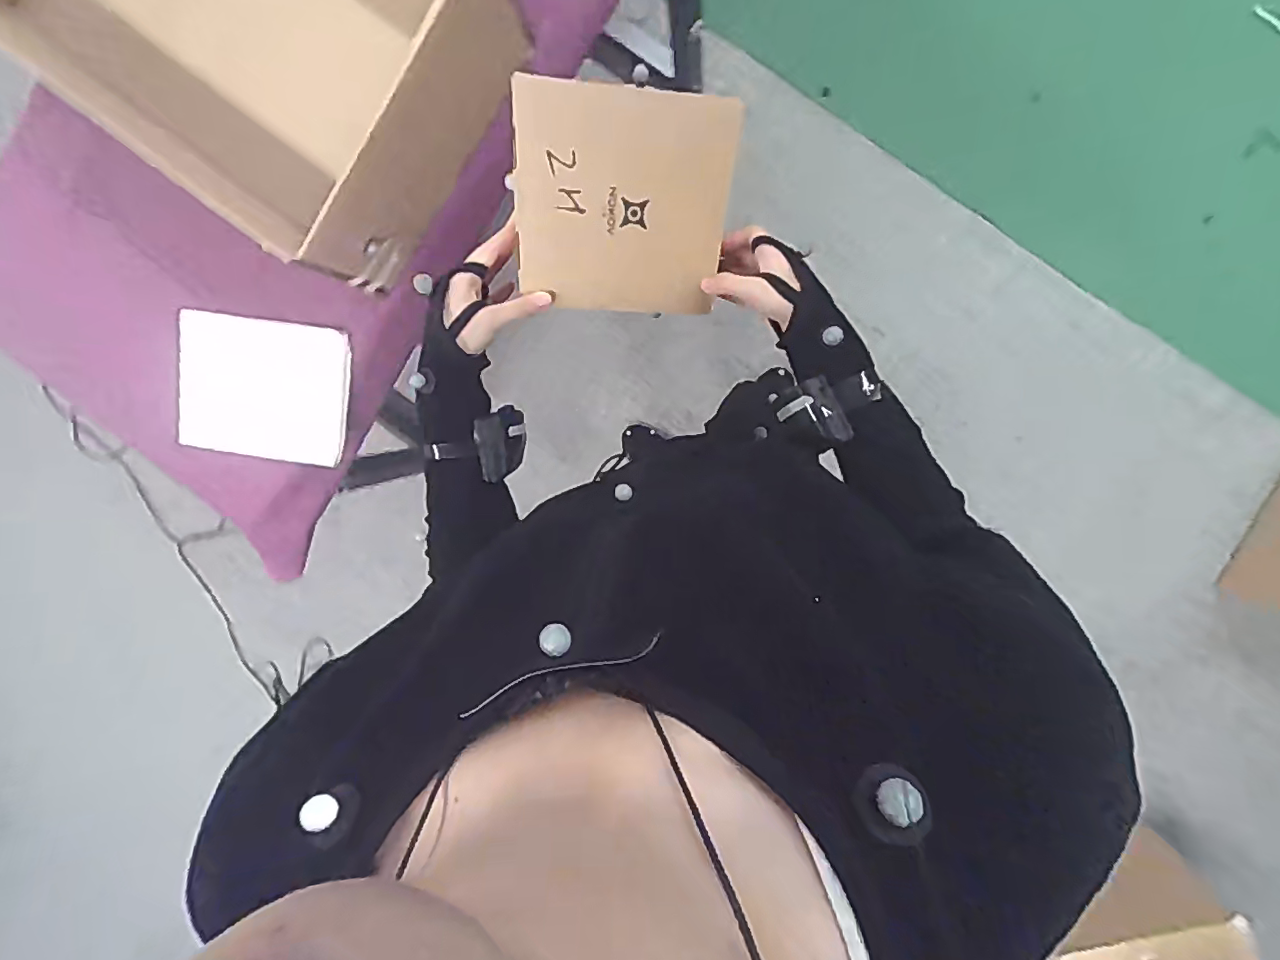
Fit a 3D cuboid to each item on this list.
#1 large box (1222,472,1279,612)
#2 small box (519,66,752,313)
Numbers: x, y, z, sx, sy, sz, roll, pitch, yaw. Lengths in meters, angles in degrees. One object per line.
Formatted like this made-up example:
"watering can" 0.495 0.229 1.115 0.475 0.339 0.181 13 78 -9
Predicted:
"large box" 1.657 0.160 1.189 0.320 0.320 0.408 21 98 2
"small box" -0.019 -0.267 0.501 0.179 0.176 0.168 1 124 -9
